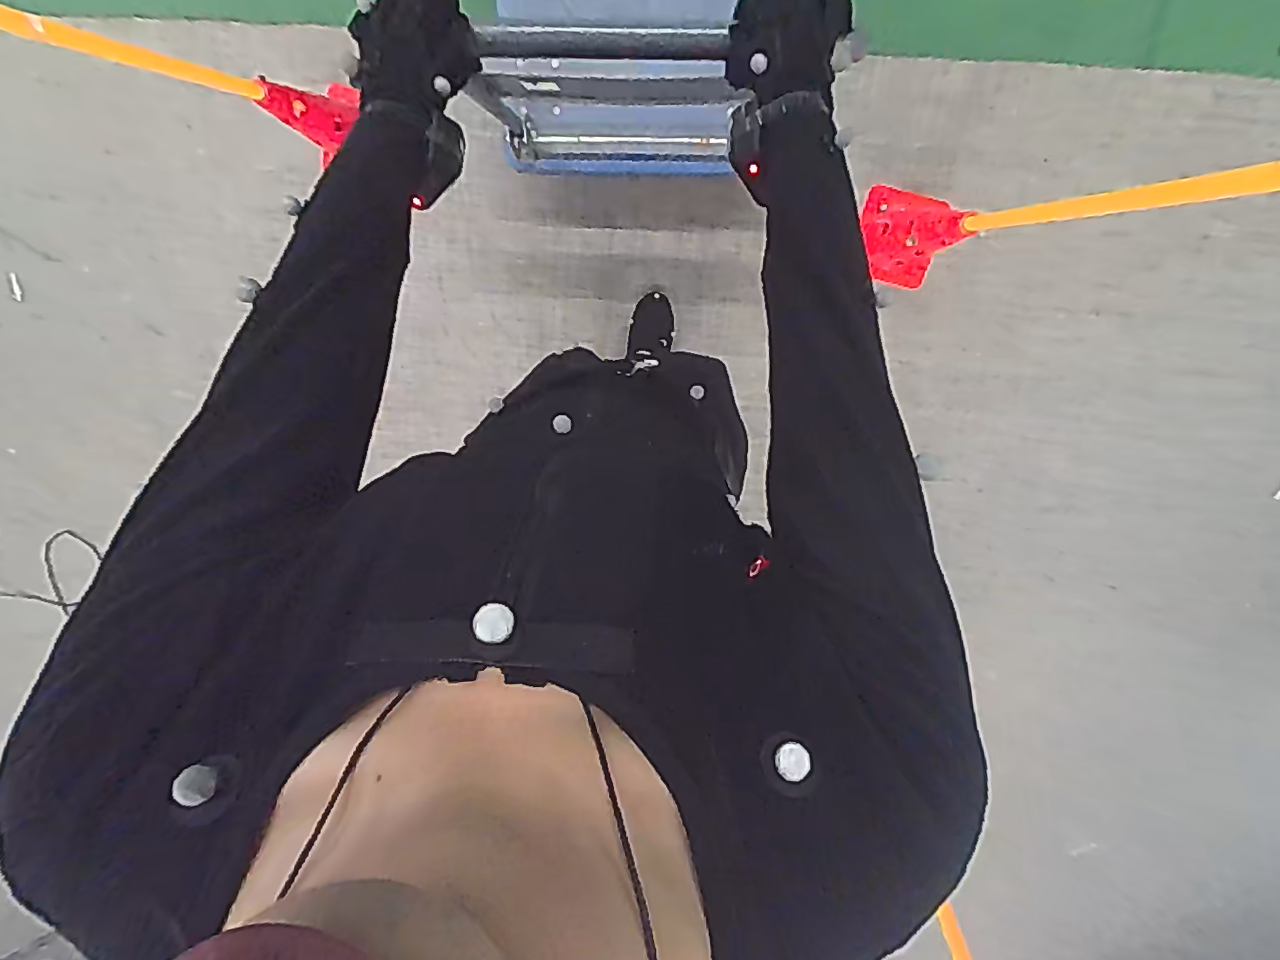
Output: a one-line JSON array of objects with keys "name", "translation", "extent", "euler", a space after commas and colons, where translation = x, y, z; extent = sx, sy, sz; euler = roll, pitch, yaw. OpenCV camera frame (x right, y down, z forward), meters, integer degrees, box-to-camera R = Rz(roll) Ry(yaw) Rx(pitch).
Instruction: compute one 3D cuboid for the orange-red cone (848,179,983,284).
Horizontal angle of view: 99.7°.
[{"name": "orange-red cone", "translation": [0.602, -0.524, 1.119], "extent": [0.198, 0.360, 0.199], "euler": [16, 112, -1]}]
